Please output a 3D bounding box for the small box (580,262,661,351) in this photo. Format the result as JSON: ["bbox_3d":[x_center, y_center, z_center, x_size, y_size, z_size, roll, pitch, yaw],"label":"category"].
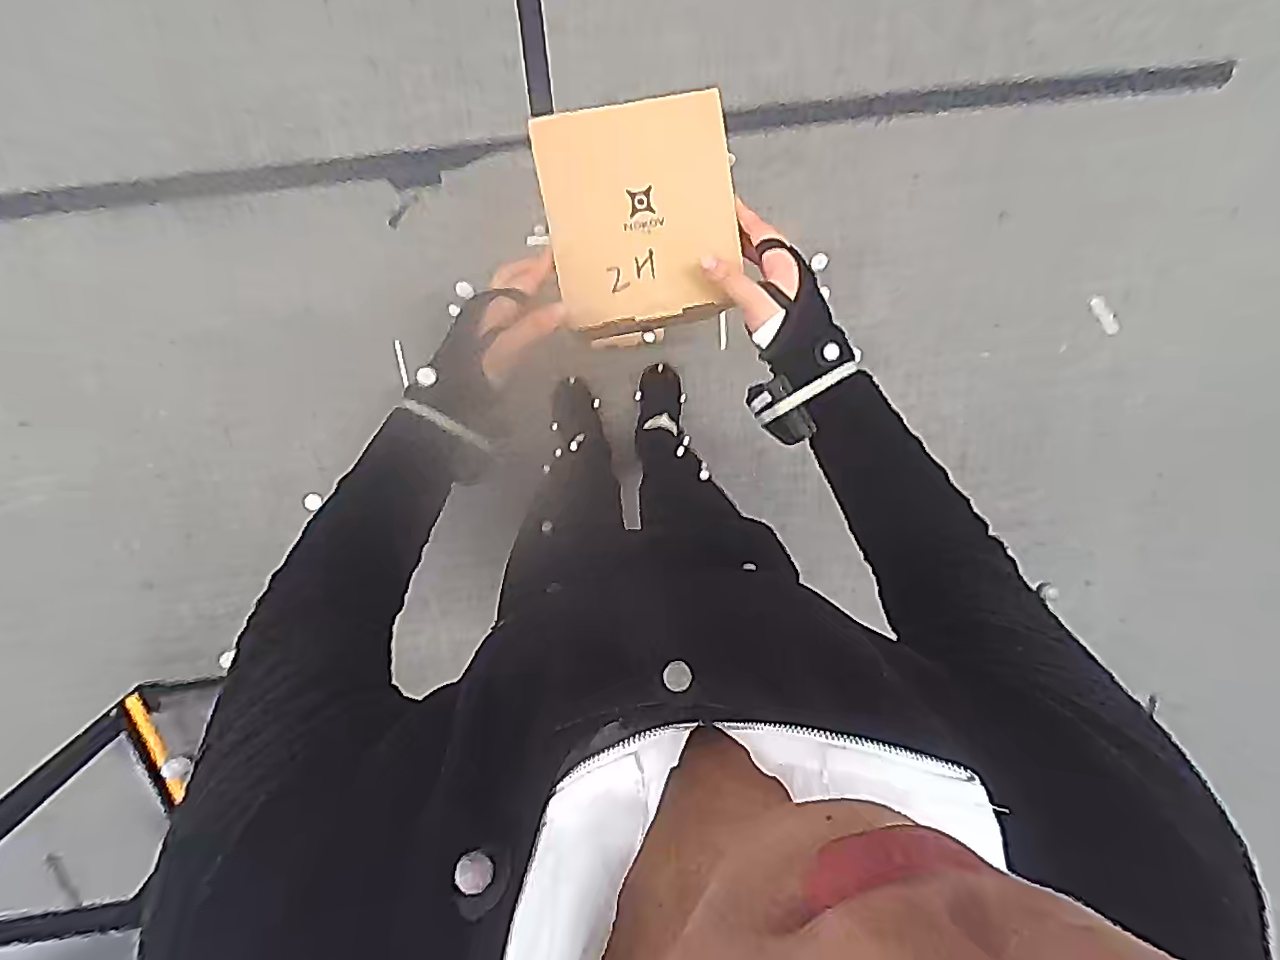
[{"bbox_3d":[-0.045,-0.403,1.251,0.168,0.176,0.179,-7,109,-2],"label":"small box"}]
